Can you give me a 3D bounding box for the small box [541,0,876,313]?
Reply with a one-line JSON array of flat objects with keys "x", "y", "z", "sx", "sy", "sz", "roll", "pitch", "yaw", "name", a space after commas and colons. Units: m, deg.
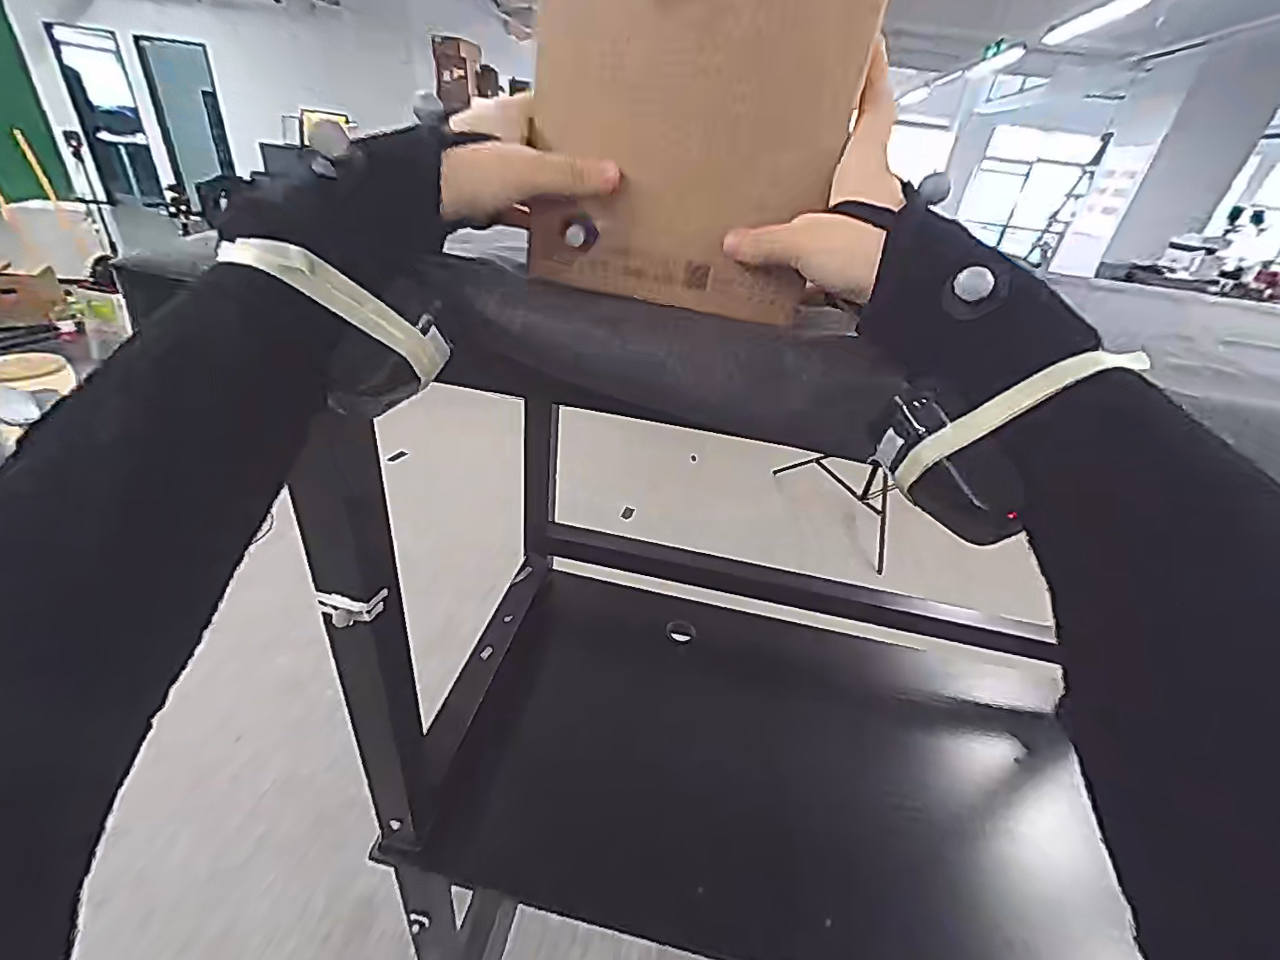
[{"x": 0.042, "y": -0.215, "z": 0.356, "sx": 0.168, "sy": 0.176, "sz": 0.179, "roll": 13, "pitch": 27, "yaw": 8, "name": "small box"}]
